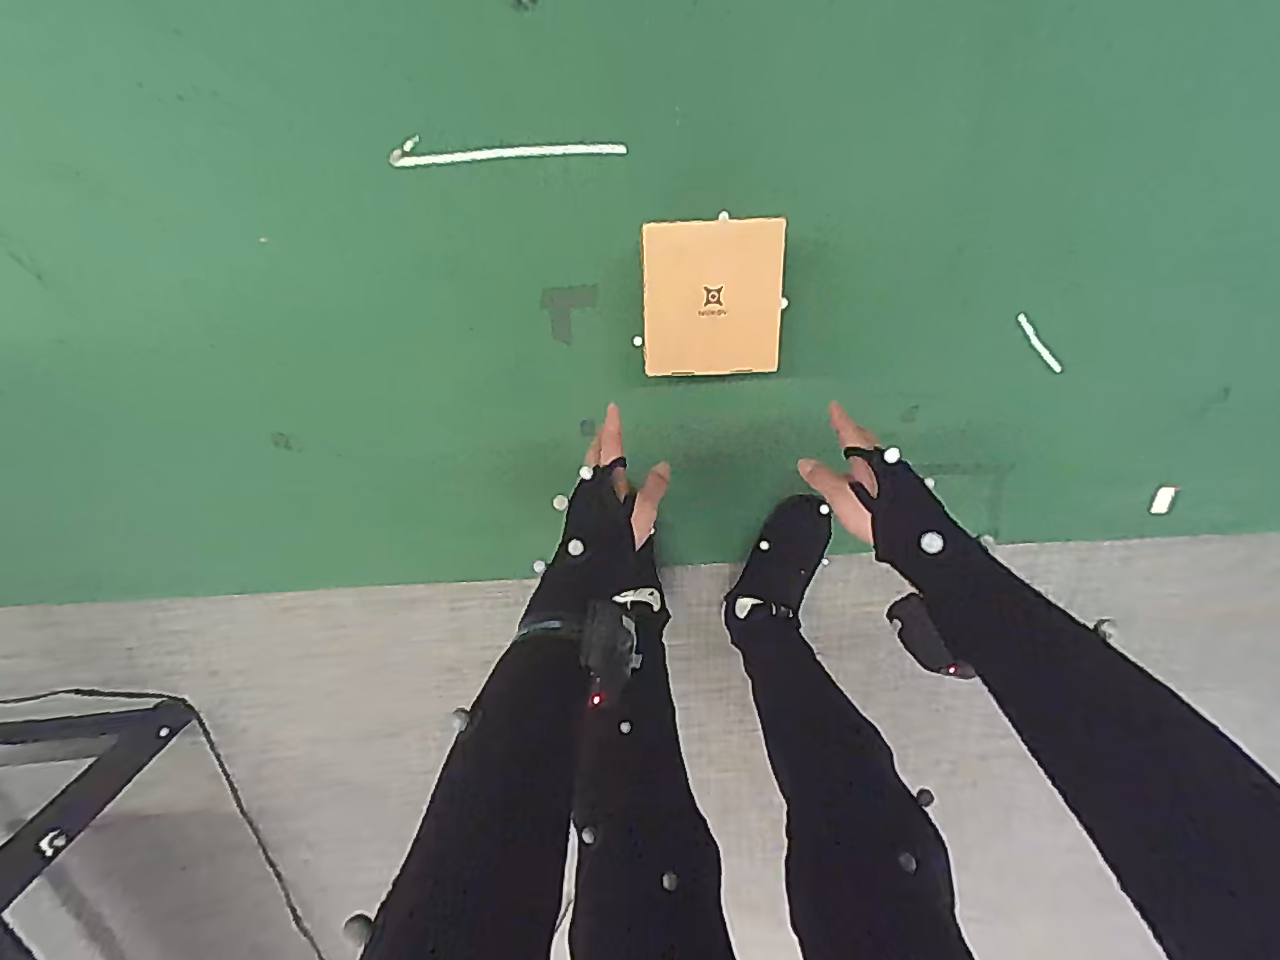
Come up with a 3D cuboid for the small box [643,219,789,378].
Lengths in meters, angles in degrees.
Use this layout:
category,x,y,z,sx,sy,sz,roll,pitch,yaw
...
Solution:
category,x,y,z,sx,sy,sz,roll,pitch,yaw
small box,0.090,-0.238,0.715,0.168,0.176,0.179,-2,111,0
